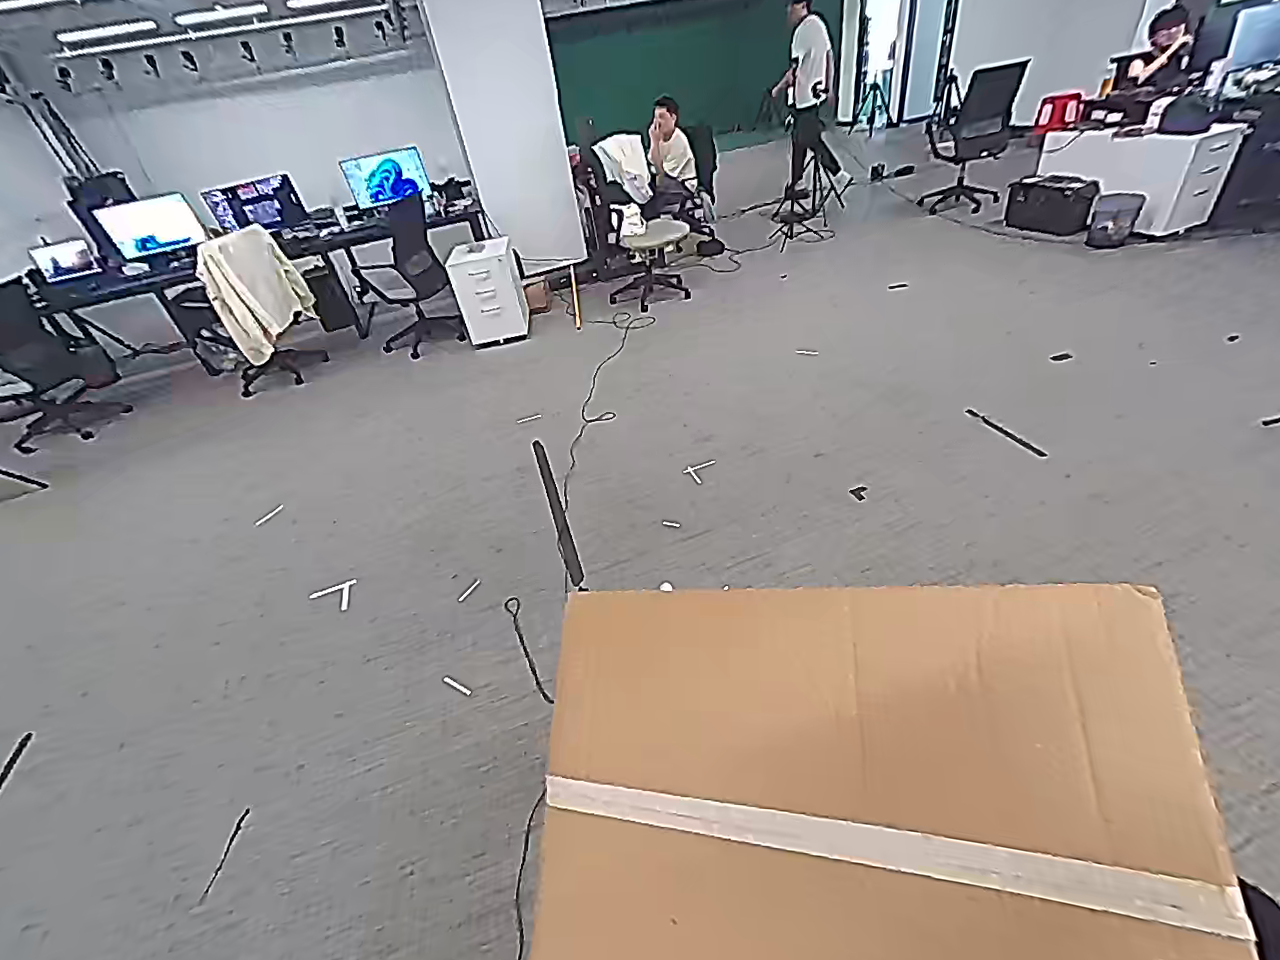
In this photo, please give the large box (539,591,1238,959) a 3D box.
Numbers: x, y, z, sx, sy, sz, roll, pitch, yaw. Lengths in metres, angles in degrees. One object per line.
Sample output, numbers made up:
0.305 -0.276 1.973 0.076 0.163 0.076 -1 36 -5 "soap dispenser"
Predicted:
0.175 0.282 0.474 0.408 0.320 0.320 -6 68 26 "large box"
